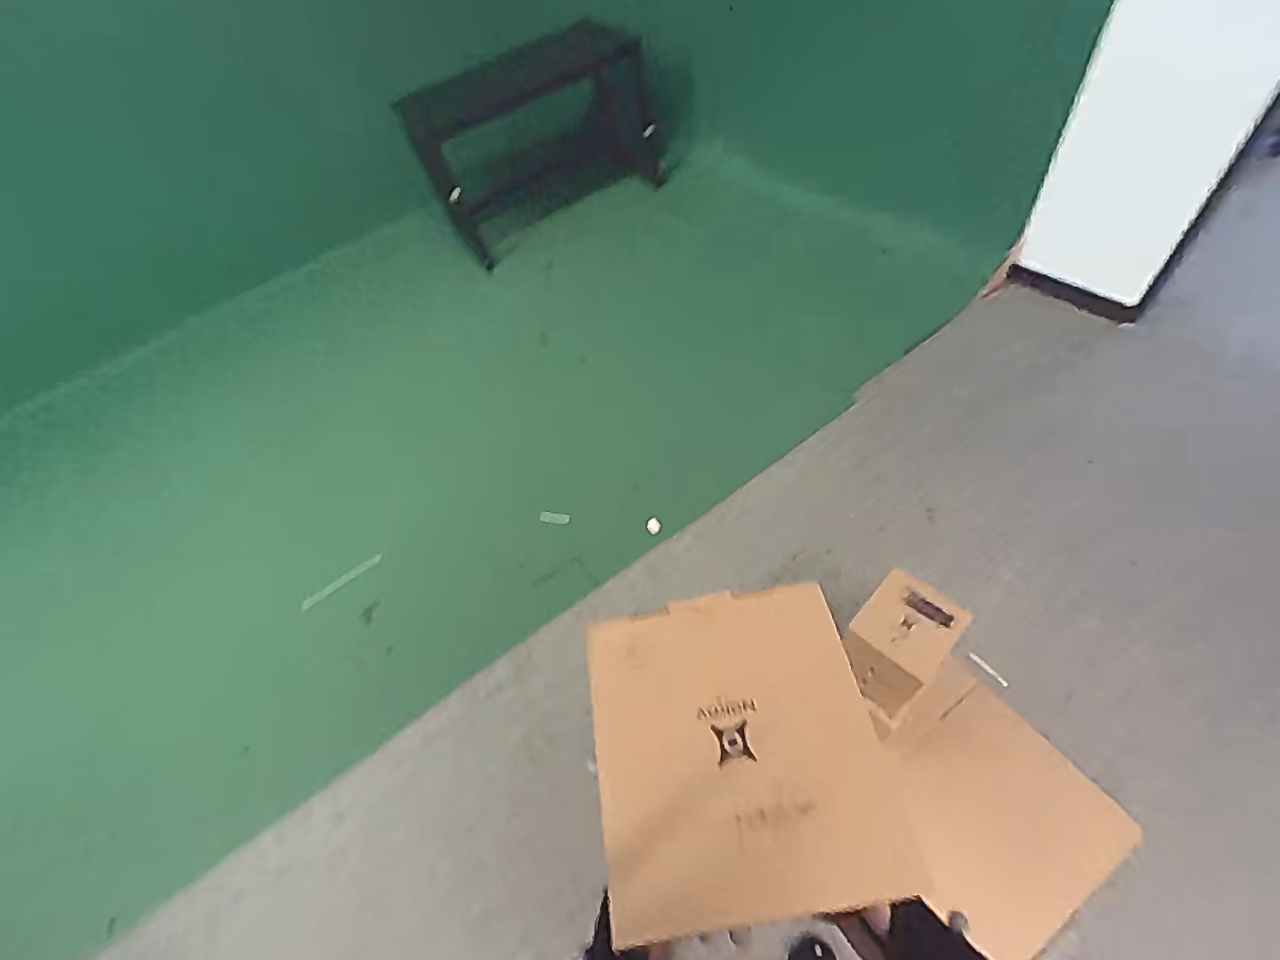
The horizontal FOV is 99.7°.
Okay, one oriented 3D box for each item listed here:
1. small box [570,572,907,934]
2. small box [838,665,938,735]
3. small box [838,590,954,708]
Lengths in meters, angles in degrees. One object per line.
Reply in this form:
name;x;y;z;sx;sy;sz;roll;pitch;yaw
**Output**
small box;0.052;0.191;0.383;0.168;0.176;0.179;-12;54;2
small box;0.610;0.509;1.368;0.179;0.176;0.168;-40;56;-16
small box;0.580;0.395;1.250;0.179;0.176;0.168;-39;57;-16
